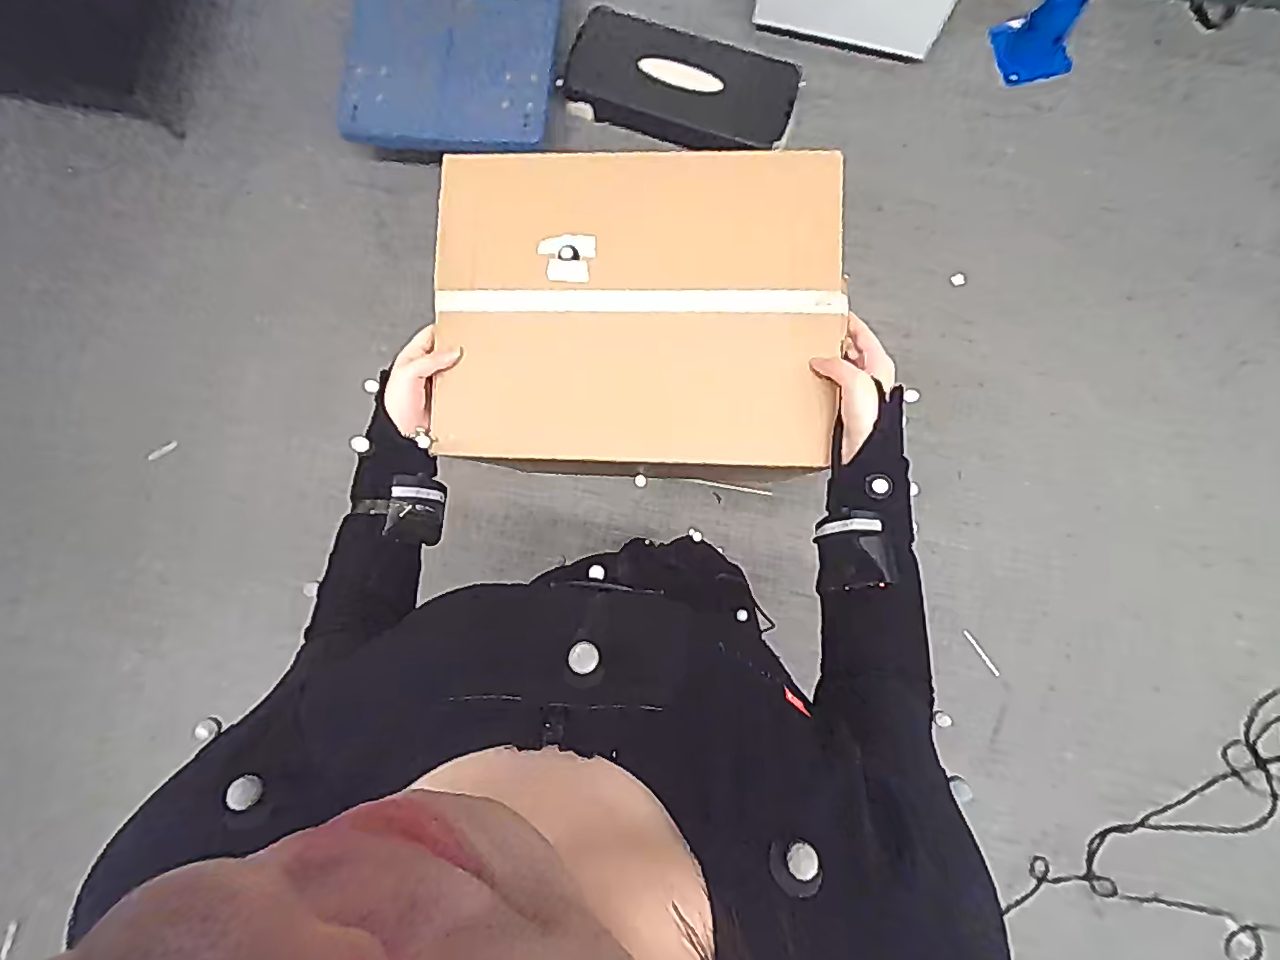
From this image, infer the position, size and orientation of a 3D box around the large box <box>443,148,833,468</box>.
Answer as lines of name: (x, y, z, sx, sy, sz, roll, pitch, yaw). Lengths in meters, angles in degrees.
large box: (0.008, -0.174, 0.698, 0.408, 0.320, 0.320, 1, 87, 6)
